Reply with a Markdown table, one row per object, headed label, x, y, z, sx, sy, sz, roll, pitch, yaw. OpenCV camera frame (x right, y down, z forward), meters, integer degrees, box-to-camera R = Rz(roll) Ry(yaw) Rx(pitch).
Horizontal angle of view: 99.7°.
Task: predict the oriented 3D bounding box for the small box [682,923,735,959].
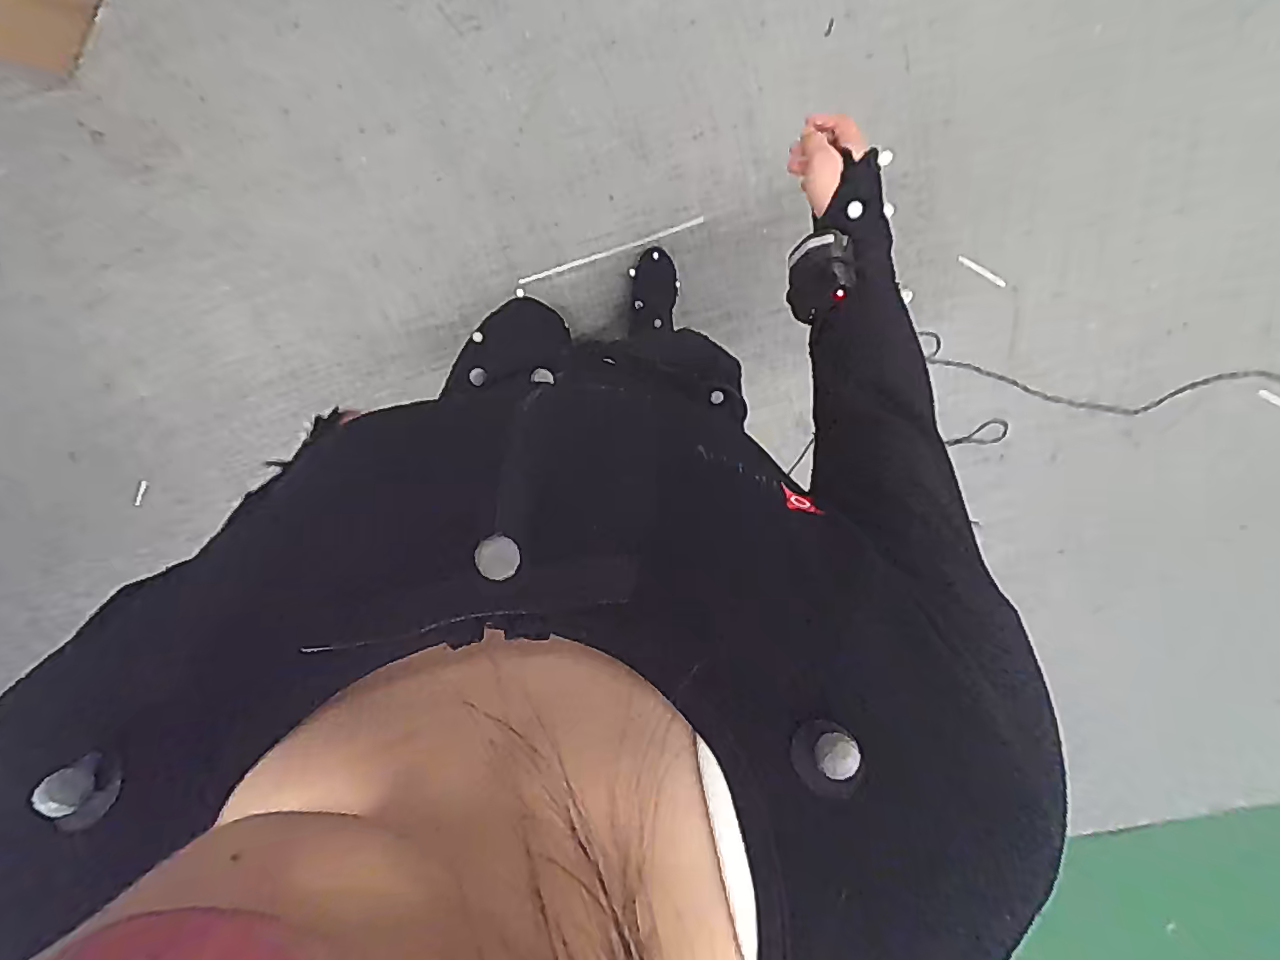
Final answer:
| label | x | y | z | sx | sy | sz | roll | pitch | yaw |
| --- | --- | --- | --- | --- | --- | --- | --- | --- | --- |
| small box | 0.251 | 1.735 | 1.931 | 0.168 | 0.176 | 0.179 | -14 | 110 | 6 |
